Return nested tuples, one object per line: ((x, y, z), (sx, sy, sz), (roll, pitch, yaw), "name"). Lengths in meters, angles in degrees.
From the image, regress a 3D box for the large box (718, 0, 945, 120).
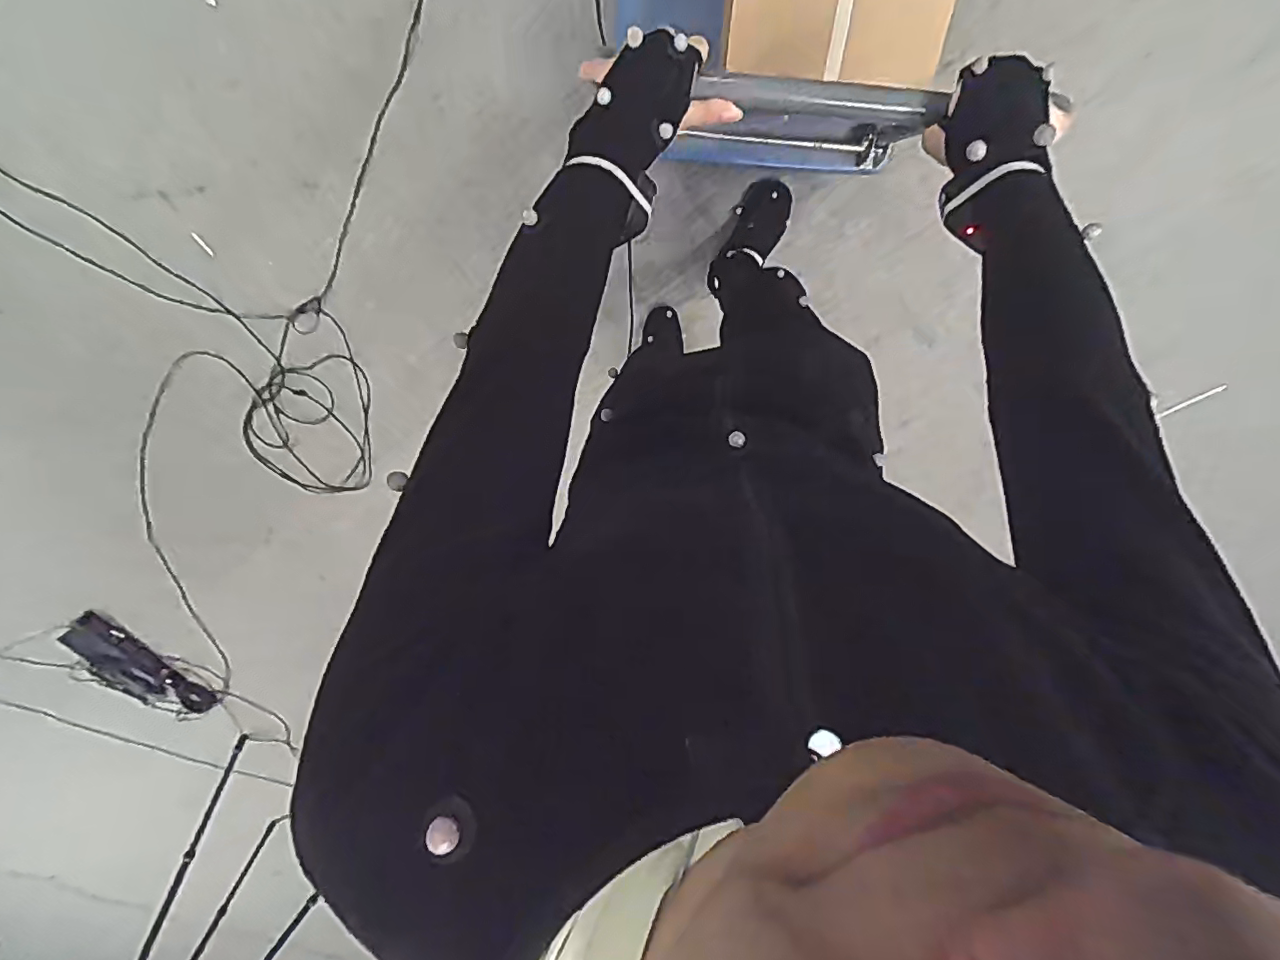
((0.303, -0.839, 0.878), (0.320, 0.320, 0.408), (5, 120, 2), "large box")
